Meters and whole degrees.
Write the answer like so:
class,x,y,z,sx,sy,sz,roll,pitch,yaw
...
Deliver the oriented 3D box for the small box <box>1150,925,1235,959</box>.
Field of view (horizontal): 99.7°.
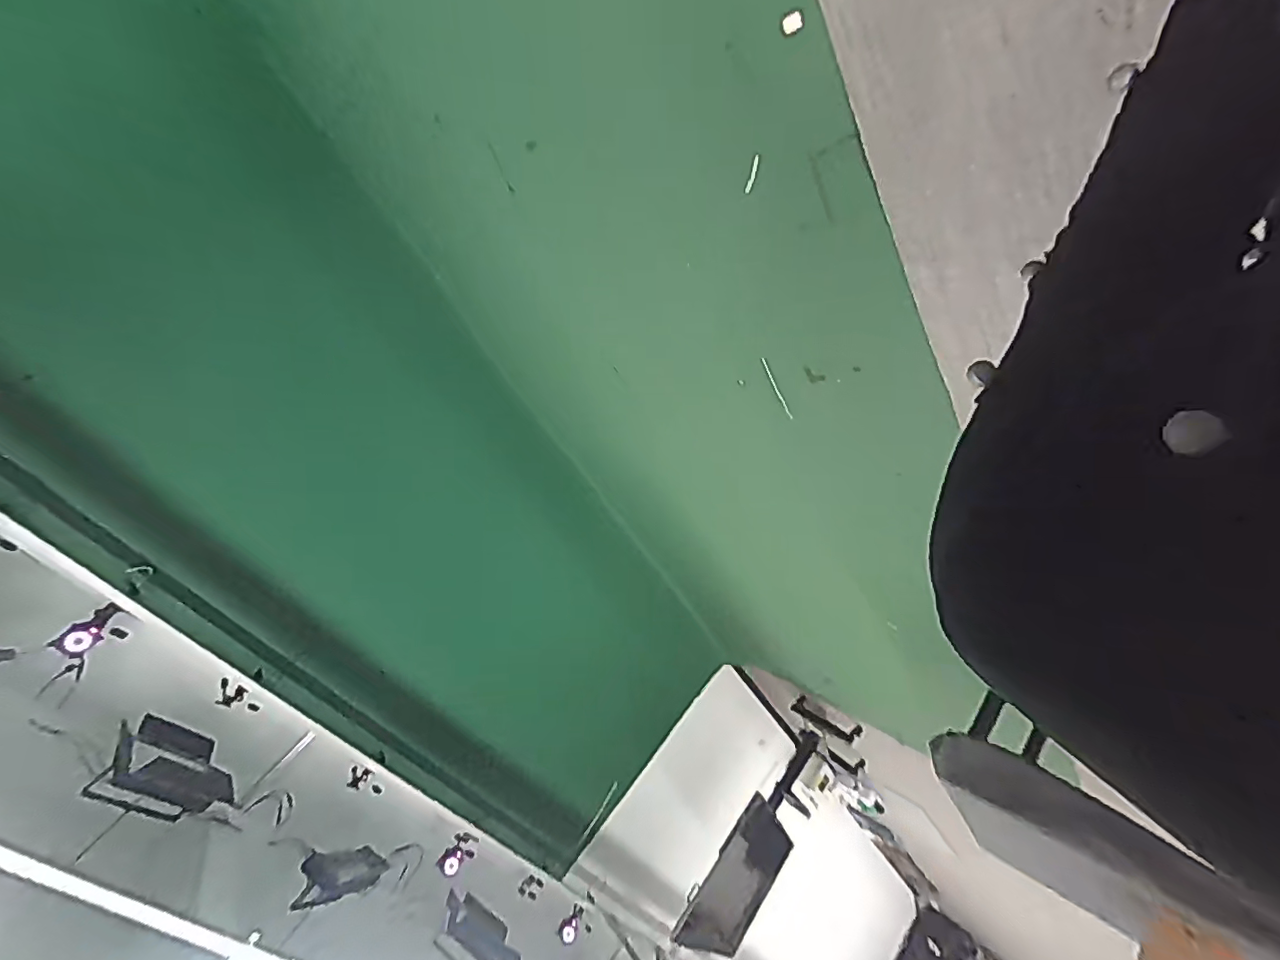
class,x,y,z,sx,sy,sz,roll,pitch,yaw
small box,1.477,1.327,1.424,0.179,0.176,0.168,12,144,55
